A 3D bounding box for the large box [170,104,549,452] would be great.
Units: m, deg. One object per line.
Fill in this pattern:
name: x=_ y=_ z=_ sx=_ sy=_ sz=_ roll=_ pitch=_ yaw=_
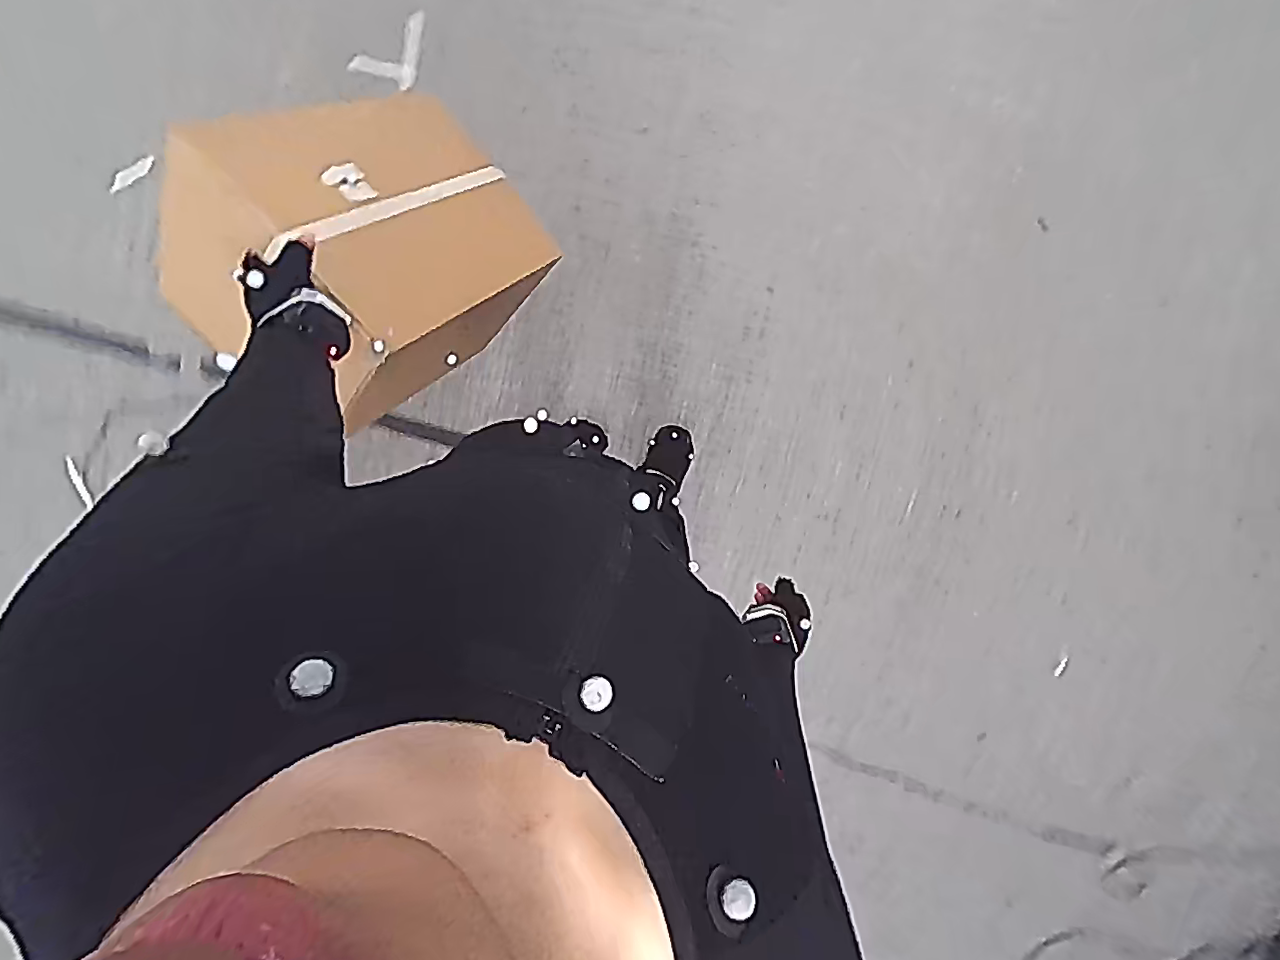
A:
large box: x=-0.427 y=-0.317 z=0.864 sx=0.320 sy=0.408 sz=0.320 roll=47 pitch=137 yaw=-12
